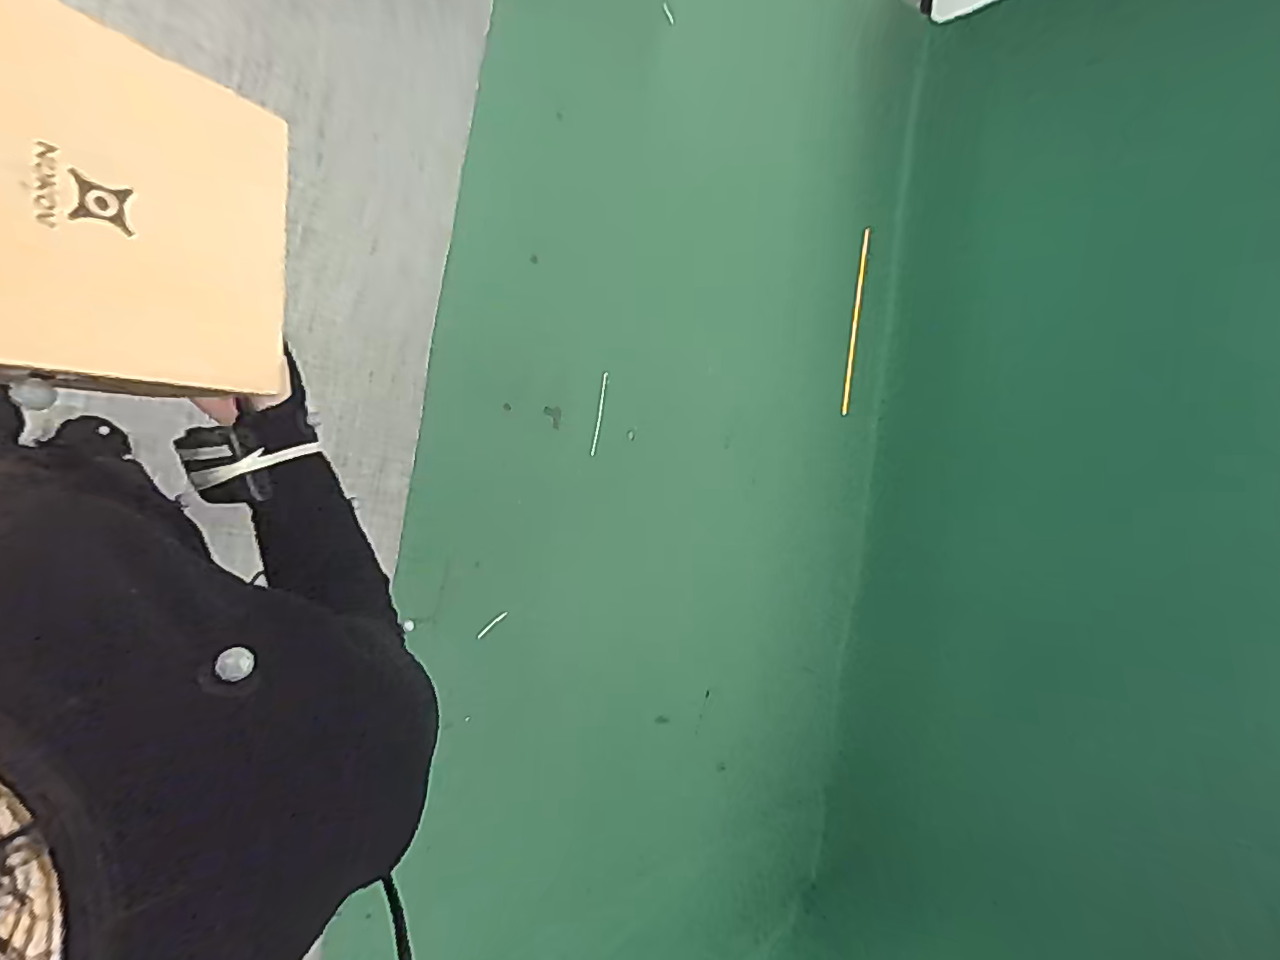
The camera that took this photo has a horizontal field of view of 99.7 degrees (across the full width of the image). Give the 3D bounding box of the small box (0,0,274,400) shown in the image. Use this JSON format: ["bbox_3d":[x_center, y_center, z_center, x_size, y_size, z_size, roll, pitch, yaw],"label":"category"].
[{"bbox_3d":[-0.340,-0.138,0.293,0.179,0.176,0.168,-2,97,-62],"label":"small box"}]
